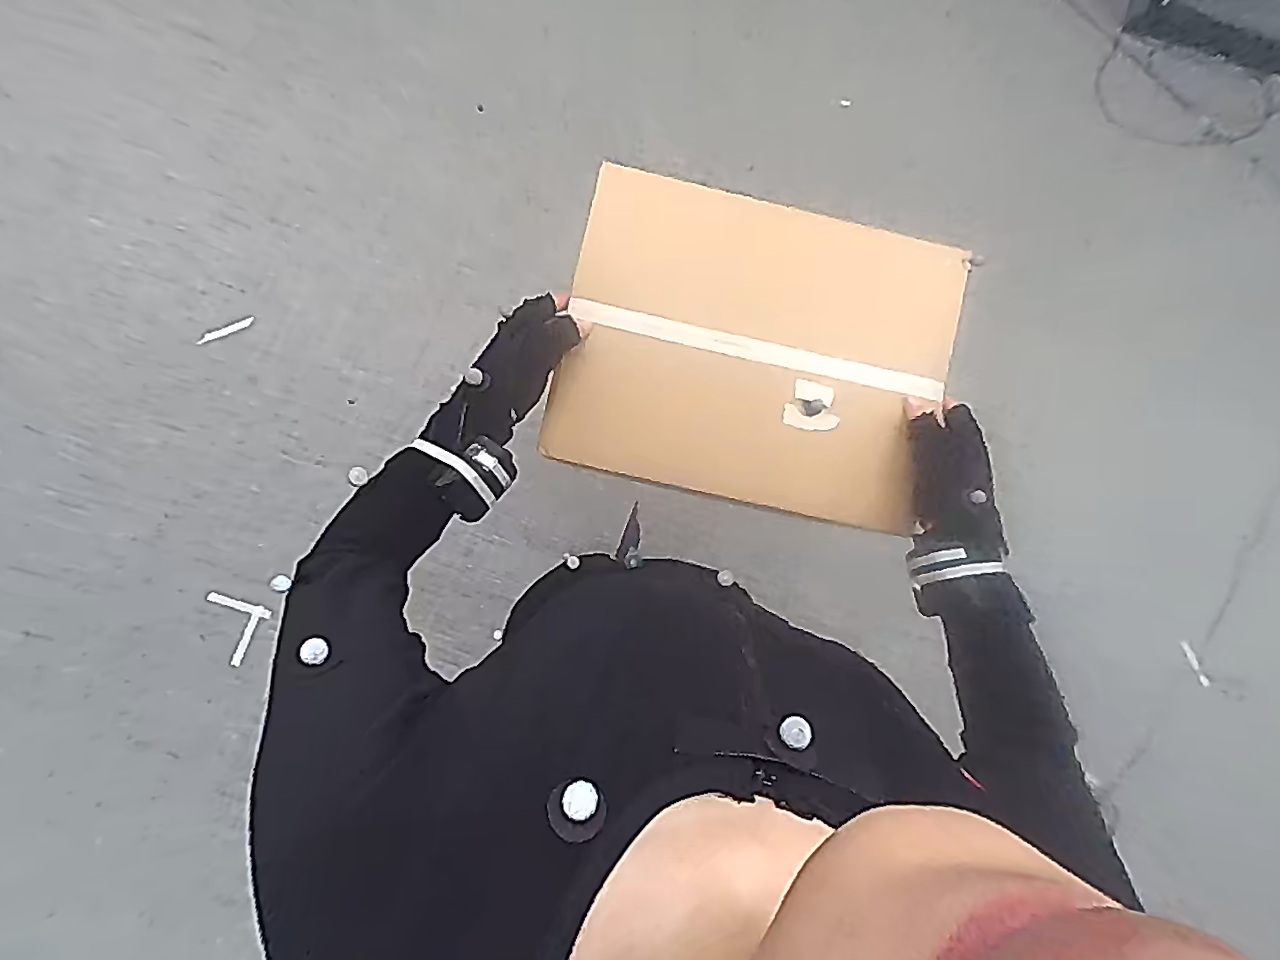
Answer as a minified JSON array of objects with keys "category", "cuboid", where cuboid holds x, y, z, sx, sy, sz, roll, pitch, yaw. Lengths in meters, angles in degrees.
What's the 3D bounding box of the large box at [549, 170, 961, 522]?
[{"category":"large box","cuboid":[0.117,-0.138,0.720,0.408,0.320,0.320,12,89,-3]}]
